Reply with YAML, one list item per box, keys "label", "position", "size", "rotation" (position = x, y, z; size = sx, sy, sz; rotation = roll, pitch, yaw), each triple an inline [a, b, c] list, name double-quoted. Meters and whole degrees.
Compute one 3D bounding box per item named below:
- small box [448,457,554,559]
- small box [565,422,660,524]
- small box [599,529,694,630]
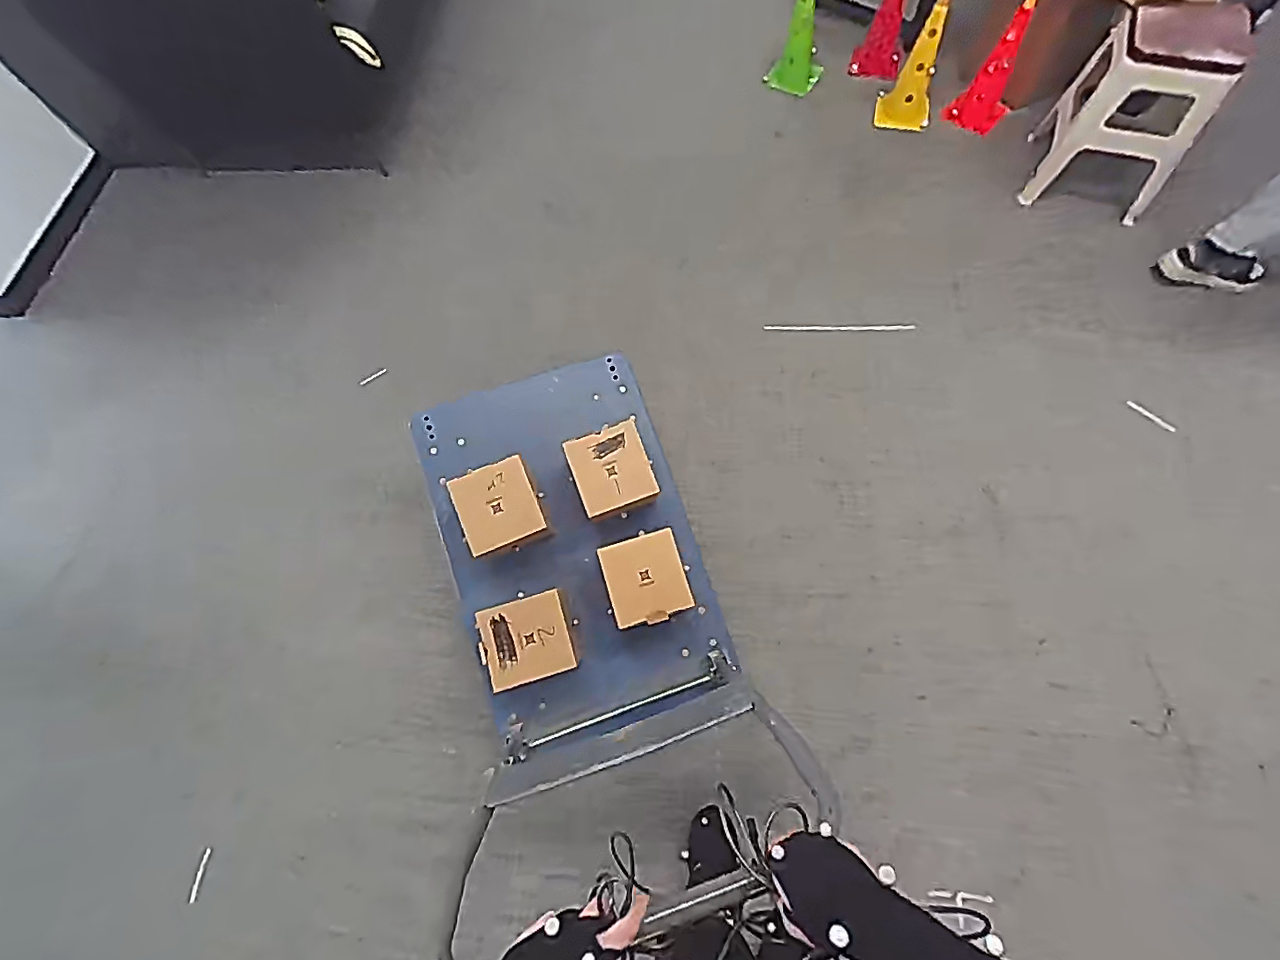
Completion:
- label: "small box"
  position: [-0.305, 0.068, 1.225]
  size: [0.168, 0.176, 0.179]
  rotation: [-22, 82, -5]
- label: "small box"
  position: [-0.062, -0.010, 1.242]
  size: [0.168, 0.176, 0.179]
  rotation: [-20, 82, -4]
- label: "small box"
  position: [0.010, 0.220, 1.208]
  size: [0.168, 0.176, 0.179]
  rotation: [-16, 82, -3]
